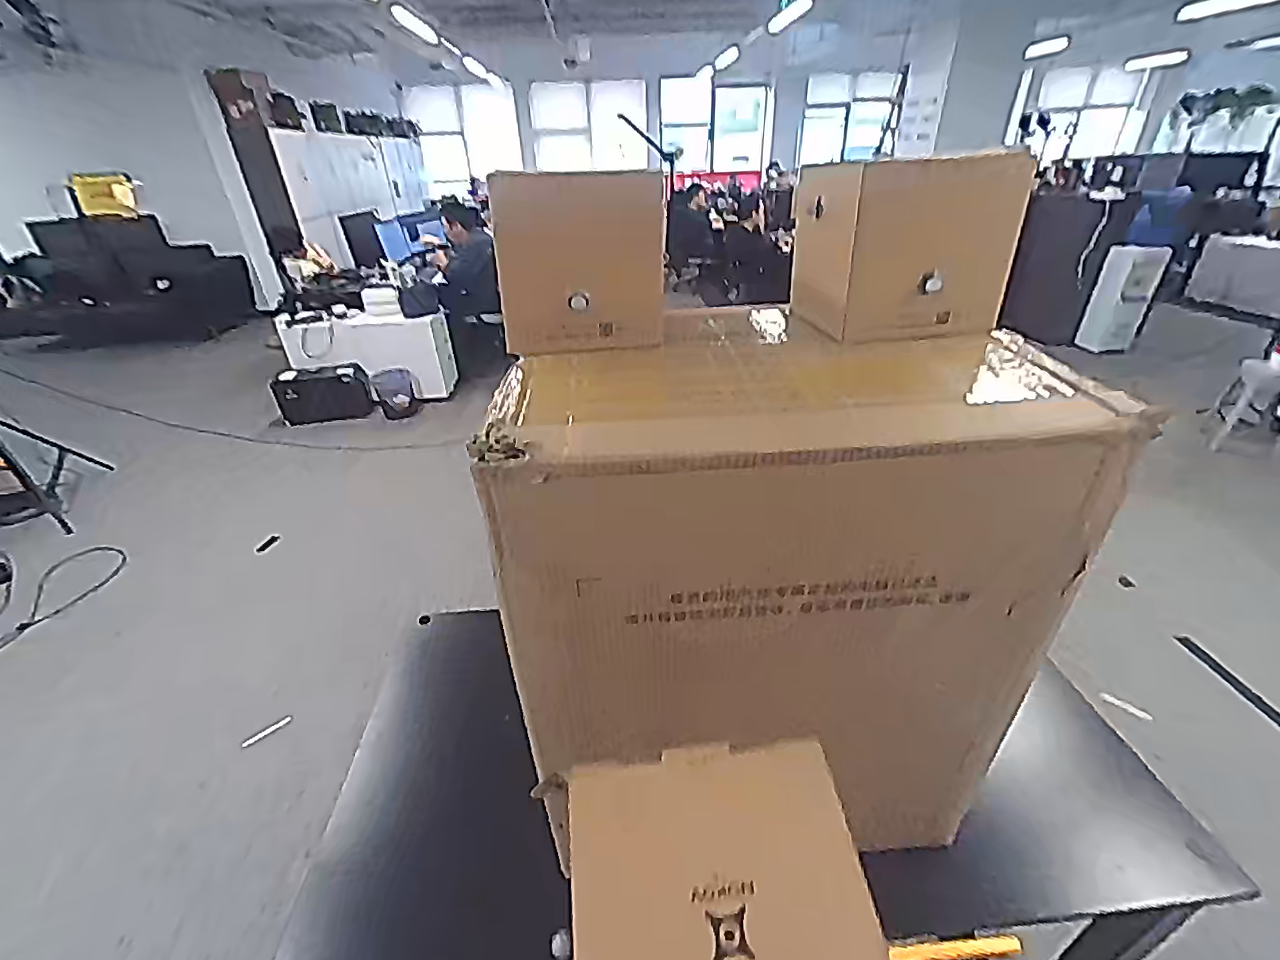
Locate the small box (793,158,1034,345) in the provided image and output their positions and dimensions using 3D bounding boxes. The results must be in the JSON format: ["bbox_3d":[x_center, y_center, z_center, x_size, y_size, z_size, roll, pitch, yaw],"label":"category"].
[{"bbox_3d":[0.279,-0.255,0.603,0.168,0.176,0.179,-5,29,-2],"label":"small box"}]

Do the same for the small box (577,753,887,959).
[{"bbox_3d":[0.044,0.303,0.348,0.168,0.176,0.179,-3,47,-7],"label":"small box"}]

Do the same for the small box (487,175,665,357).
[{"bbox_3d":[-0.070,-0.244,0.607,0.168,0.176,0.179,-5,30,-8],"label":"small box"}]
